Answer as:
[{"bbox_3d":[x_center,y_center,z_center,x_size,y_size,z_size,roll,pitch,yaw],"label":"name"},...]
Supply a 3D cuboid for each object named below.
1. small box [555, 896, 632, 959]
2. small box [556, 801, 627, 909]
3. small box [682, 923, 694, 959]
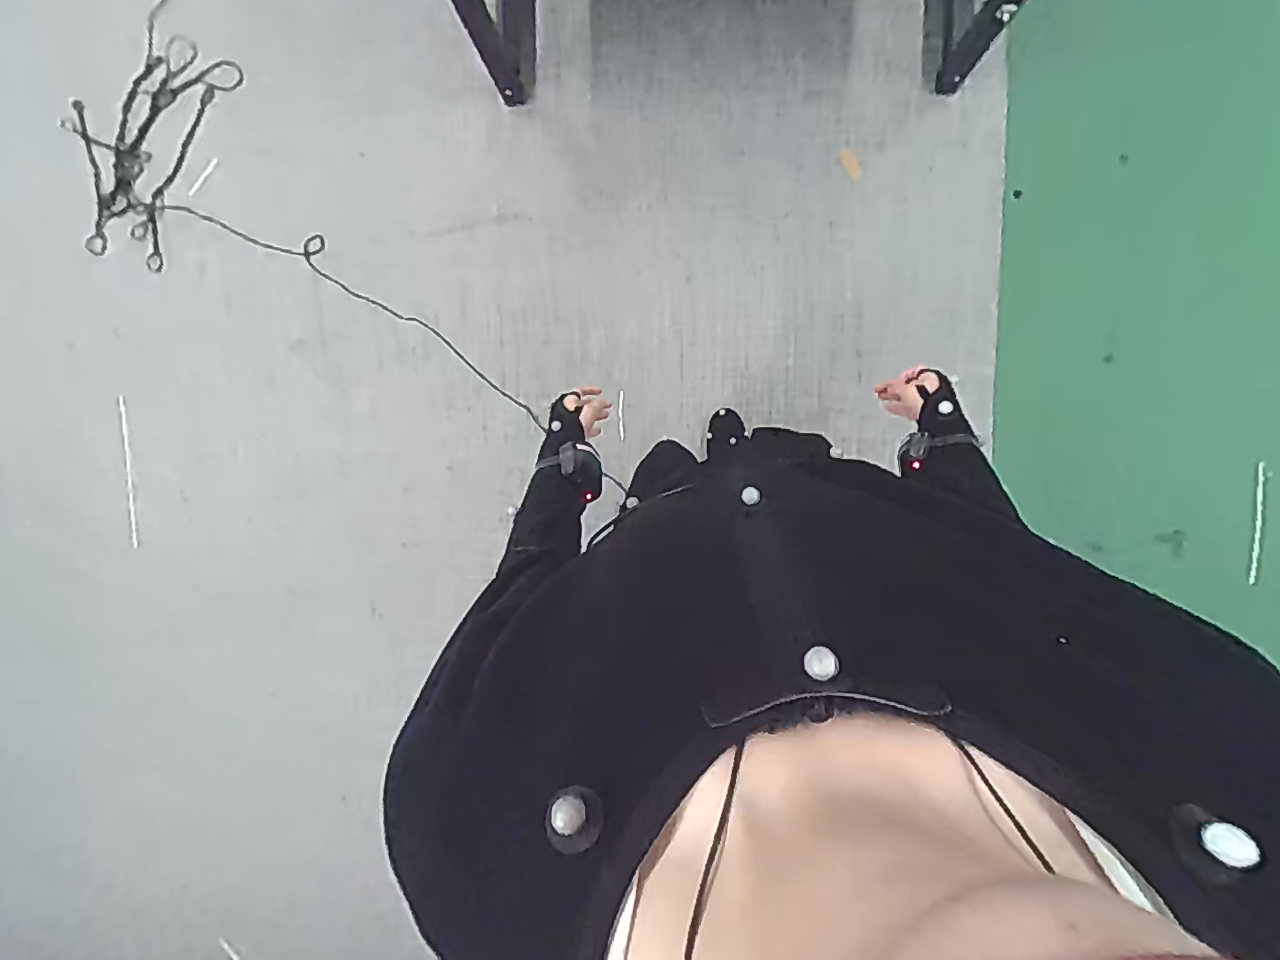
[{"bbox_3d":[-0.129,1.279,1.504,0.179,0.176,0.168,16,95,5],"label":"small box"},{"bbox_3d":[-0.129,1.023,1.491,0.168,0.176,0.179,4,94,5],"label":"small box"},{"bbox_3d":[0.211,1.306,1.478,0.179,0.176,0.168,7,94,4],"label":"small box"}]
